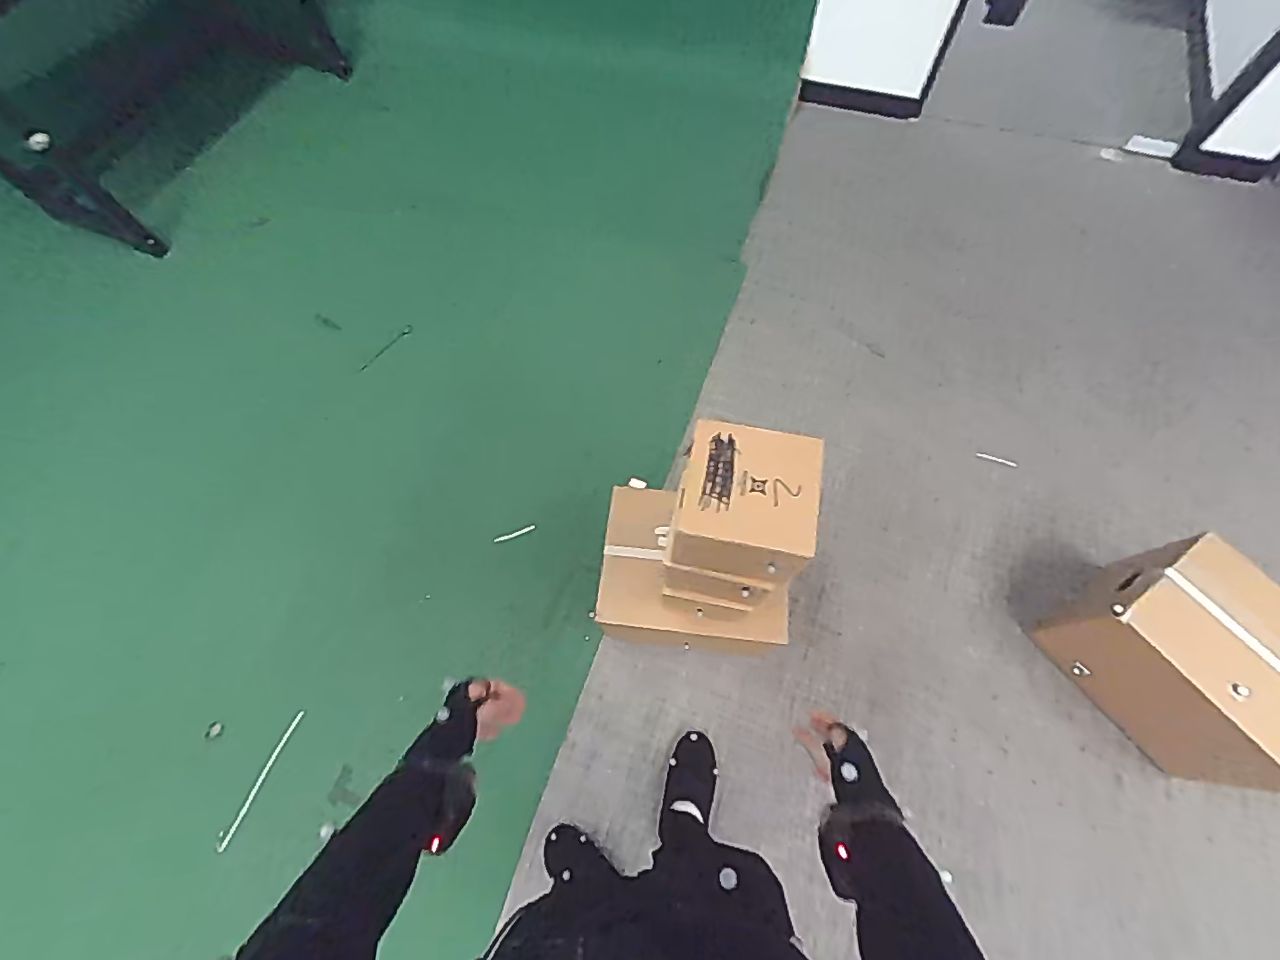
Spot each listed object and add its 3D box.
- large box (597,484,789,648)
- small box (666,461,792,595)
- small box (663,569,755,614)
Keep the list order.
[{"bbox_3d":[0.130,0.220,1.307,0.408,0.320,0.320,5,67,6],"label":"large box"},{"bbox_3d":[0.144,0.089,0.920,0.179,0.176,0.168,12,69,6],"label":"small box"},{"bbox_3d":[0.144,0.156,1.067,0.168,0.176,0.179,11,68,6],"label":"small box"}]
